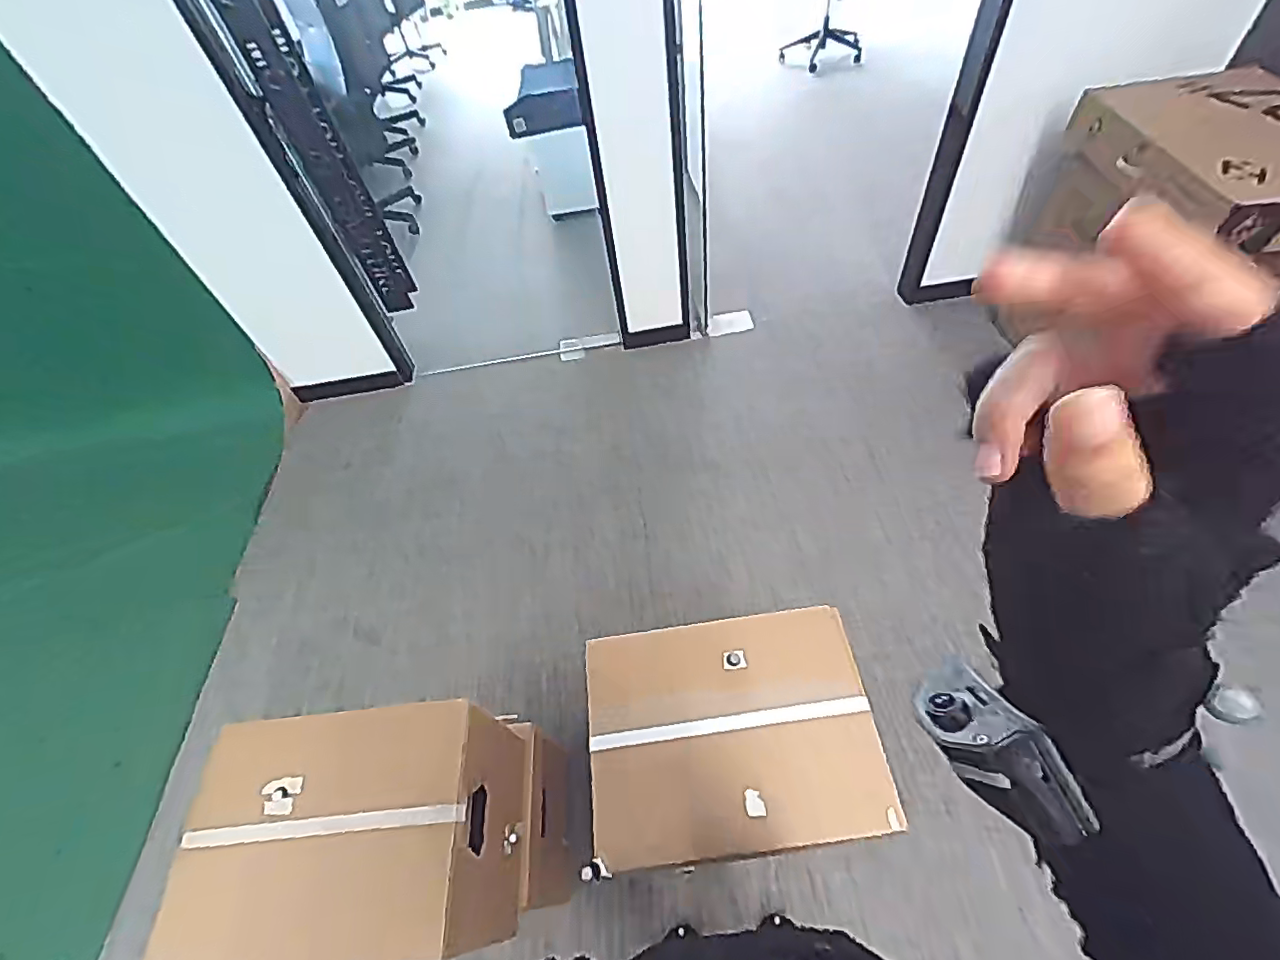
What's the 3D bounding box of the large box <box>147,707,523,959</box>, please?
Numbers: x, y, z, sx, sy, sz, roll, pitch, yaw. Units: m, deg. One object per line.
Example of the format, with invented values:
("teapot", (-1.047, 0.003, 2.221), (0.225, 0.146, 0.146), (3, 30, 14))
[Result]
("large box", (-0.427, 0.584, 0.872), (0.408, 0.320, 0.320), (-7, 53, 3))
